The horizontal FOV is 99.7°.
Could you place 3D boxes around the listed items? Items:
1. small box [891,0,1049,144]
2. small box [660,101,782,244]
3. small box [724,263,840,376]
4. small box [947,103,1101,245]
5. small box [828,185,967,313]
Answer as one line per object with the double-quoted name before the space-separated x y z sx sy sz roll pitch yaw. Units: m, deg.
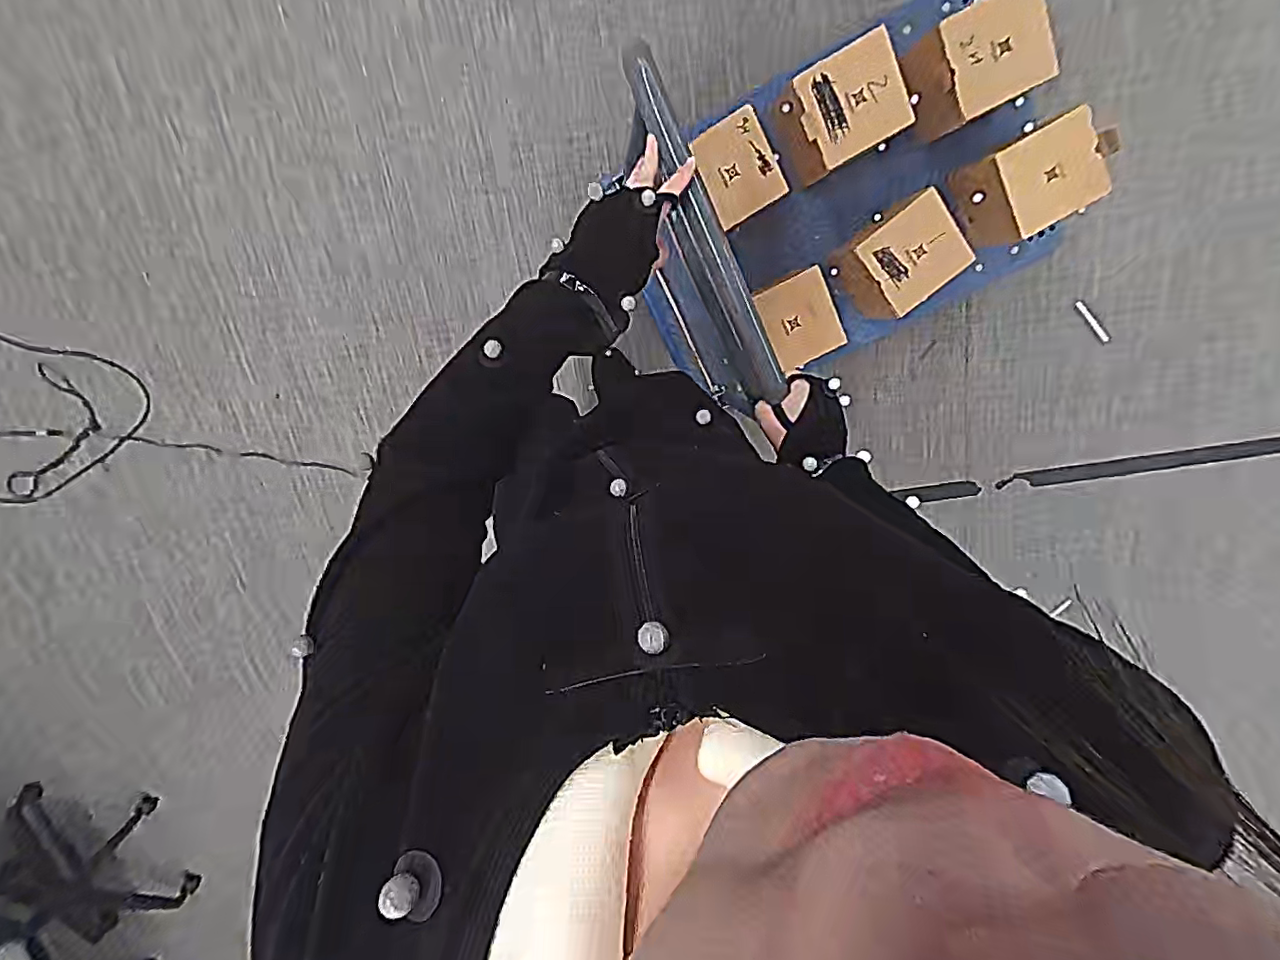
"small box" 0.611 -0.775 1.019 0.179 0.176 0.168 -24 106 7
"small box" 0.151 -0.589 1.065 0.179 0.176 0.168 -29 106 8
"small box" 0.289 -0.337 1.147 0.179 0.176 0.168 -26 106 6
"small box" 0.749 -0.594 1.079 0.179 0.176 0.168 -29 105 7
"small box" 0.513 -0.461 1.113 0.179 0.176 0.168 -38 104 9
